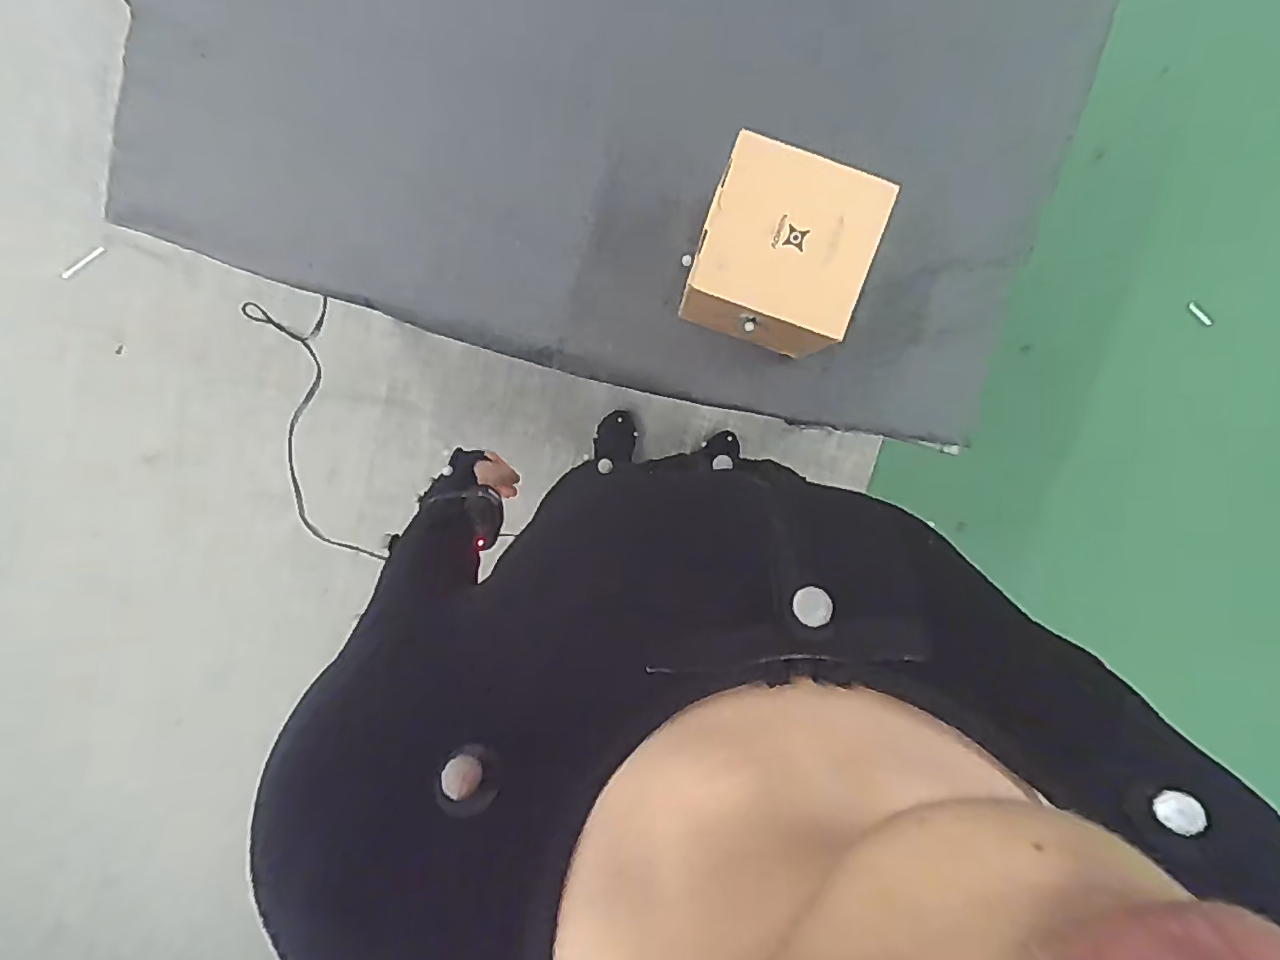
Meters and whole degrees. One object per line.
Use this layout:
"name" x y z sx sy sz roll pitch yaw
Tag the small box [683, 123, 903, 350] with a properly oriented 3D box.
"small box" 0.156 -0.259 0.623 0.179 0.176 0.168 19 97 -1
